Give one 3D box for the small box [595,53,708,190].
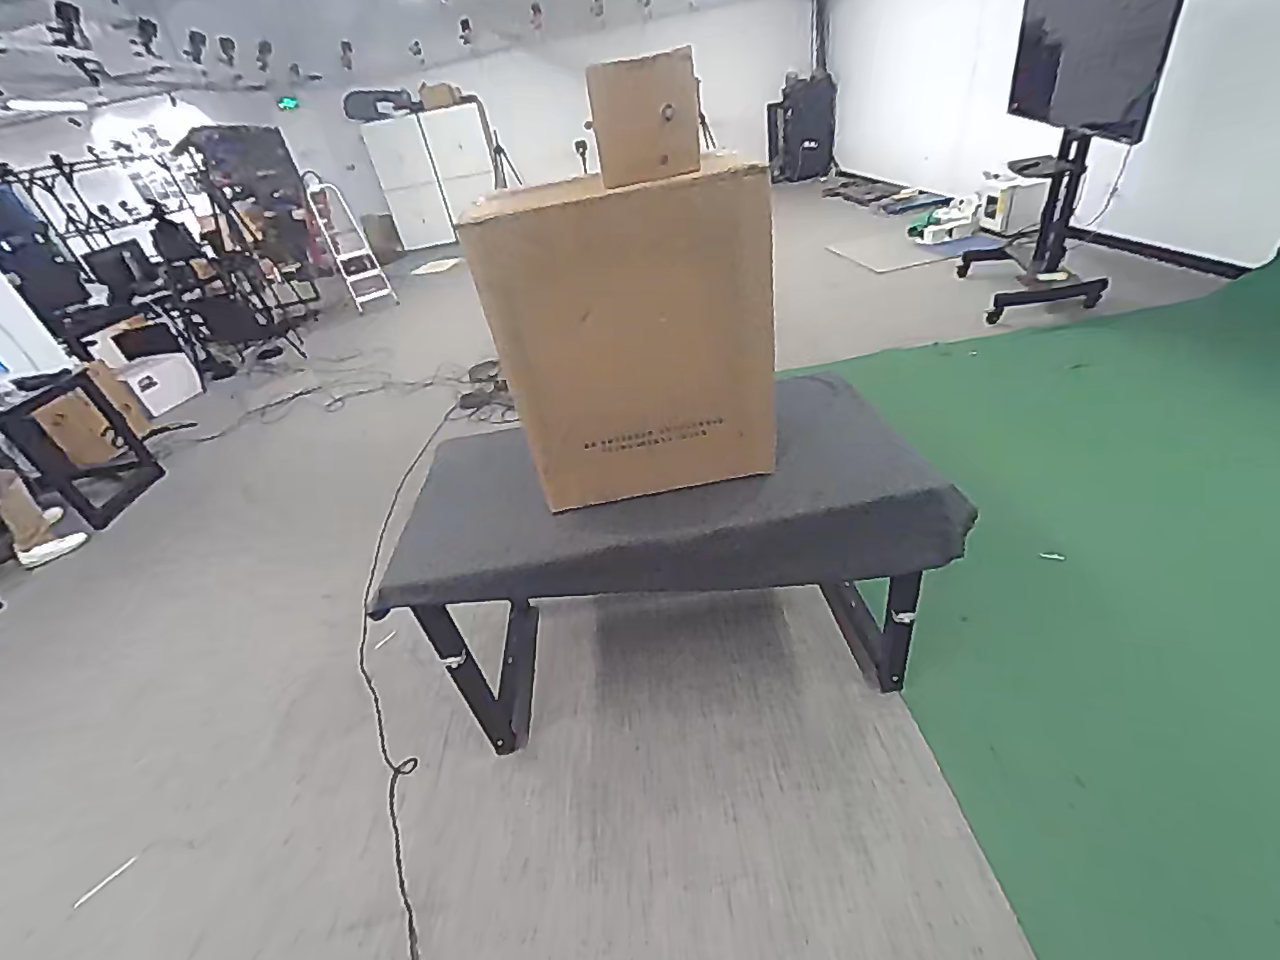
[{"bbox_3d":[0.019,-0.605,0.923,0.168,0.176,0.179,-9,35,0],"label":"small box"}]
